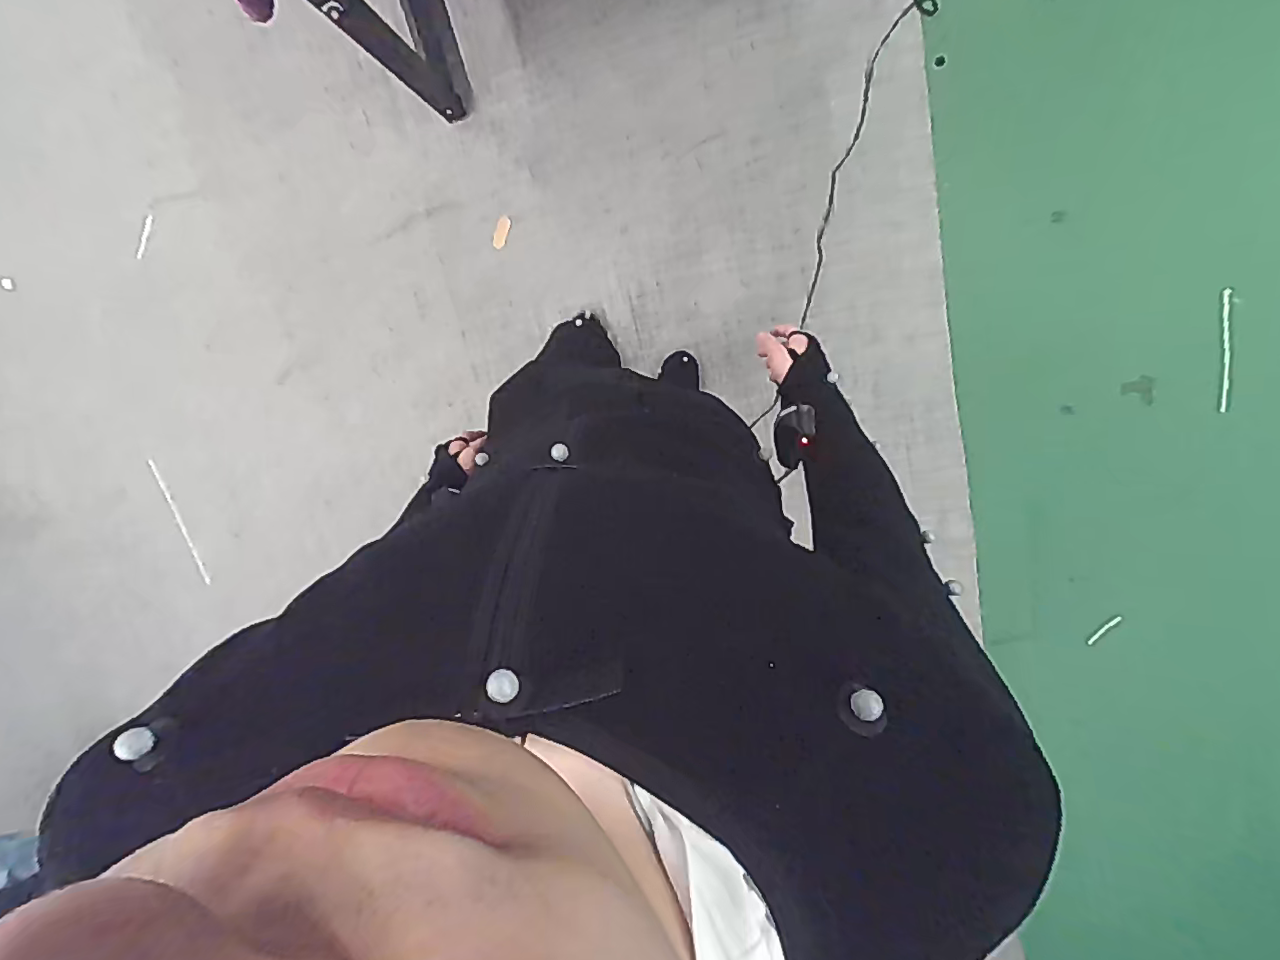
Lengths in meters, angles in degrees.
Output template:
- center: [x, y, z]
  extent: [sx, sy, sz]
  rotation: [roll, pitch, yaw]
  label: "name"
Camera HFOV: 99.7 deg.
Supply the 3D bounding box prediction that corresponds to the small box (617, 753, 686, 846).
- center: [0.041, 0.958, 1.631]
  extent: [0.179, 0.176, 0.168]
  rotation: [-12, 102, 7]
  label: "small box"
